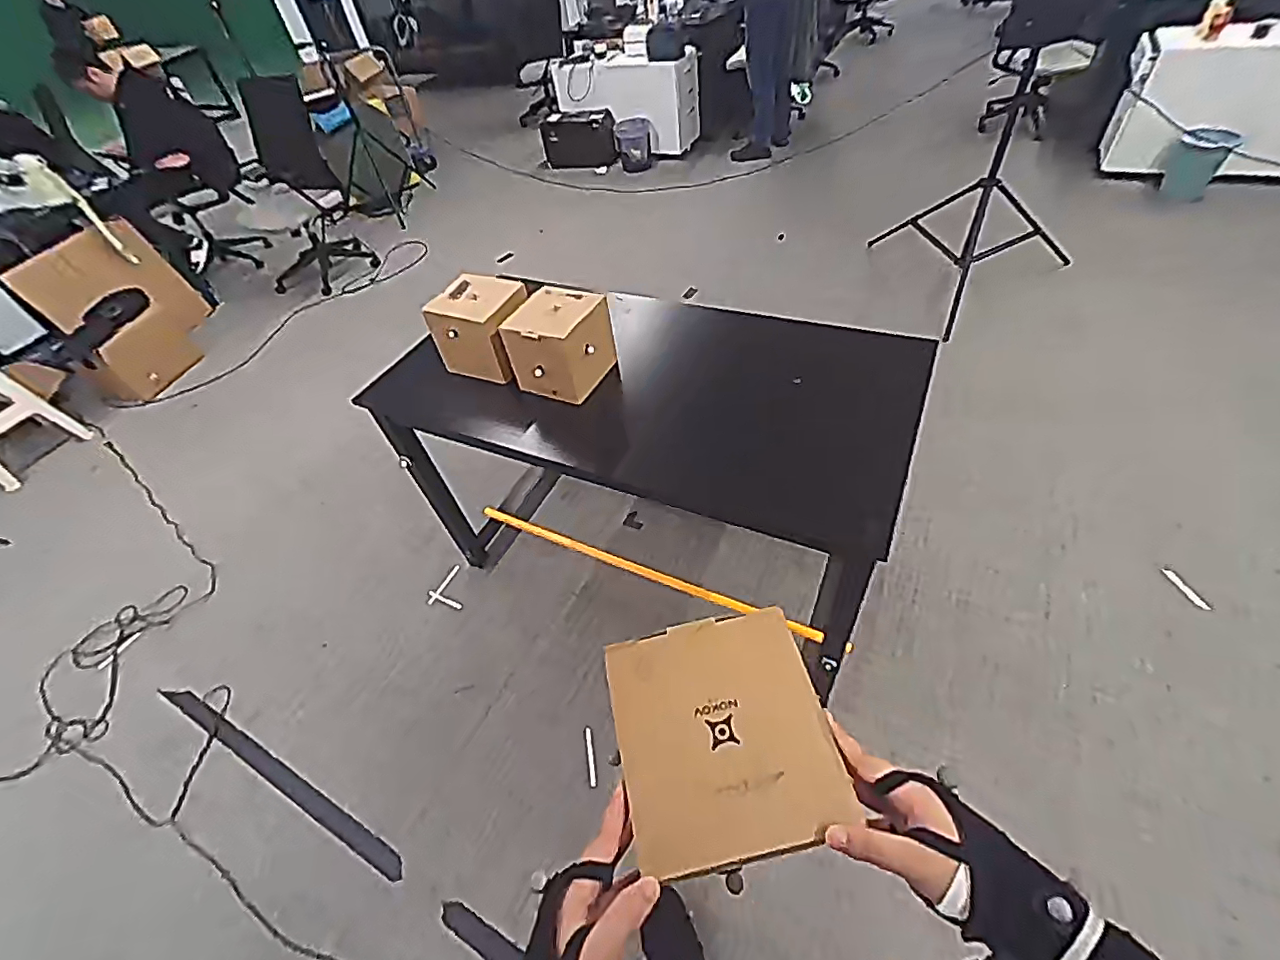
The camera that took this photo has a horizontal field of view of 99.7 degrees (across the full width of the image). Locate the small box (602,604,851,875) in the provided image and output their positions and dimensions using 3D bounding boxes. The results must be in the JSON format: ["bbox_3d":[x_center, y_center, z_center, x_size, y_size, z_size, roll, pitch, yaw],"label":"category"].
[{"bbox_3d":[0.065,0.243,0.503,0.168,0.176,0.179,-12,53,-3],"label":"small box"}]

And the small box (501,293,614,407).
[{"bbox_3d":[-0.172,-0.286,1.201,0.168,0.176,0.179,17,54,23],"label":"small box"}]

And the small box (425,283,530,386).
[{"bbox_3d":[-0.364,-0.343,1.282,0.179,0.176,0.168,15,53,20],"label":"small box"}]
